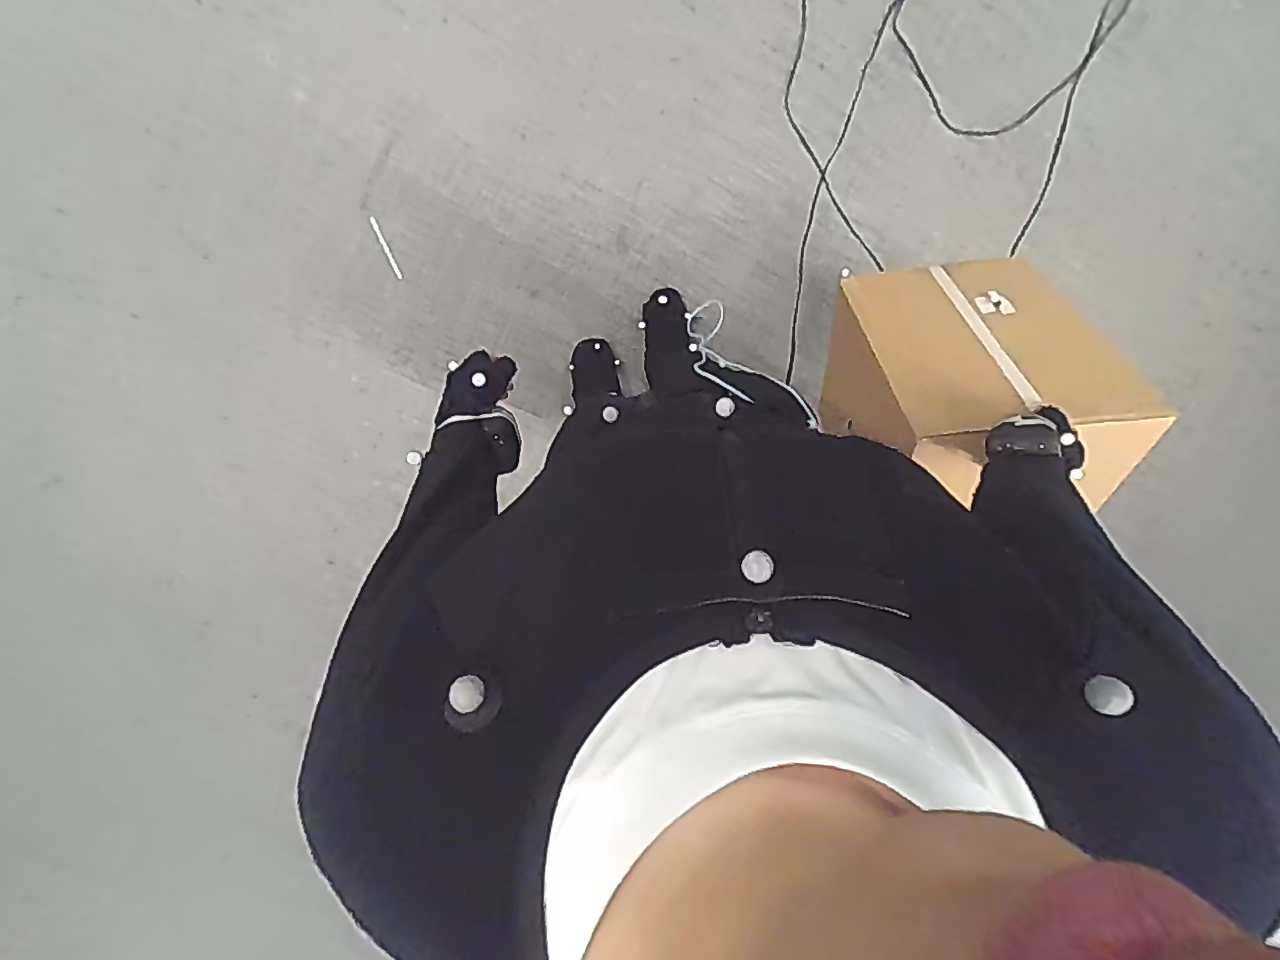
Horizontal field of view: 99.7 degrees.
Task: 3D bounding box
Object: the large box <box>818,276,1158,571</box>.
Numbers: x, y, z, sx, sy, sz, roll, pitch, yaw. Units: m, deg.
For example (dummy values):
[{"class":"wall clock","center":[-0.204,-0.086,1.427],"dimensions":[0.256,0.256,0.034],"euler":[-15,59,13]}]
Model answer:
[{"class":"large box","center":[0.522,-0.099,0.934],"dimensions":[0.320,0.408,0.320],"euler":[-3,138,4]}]
